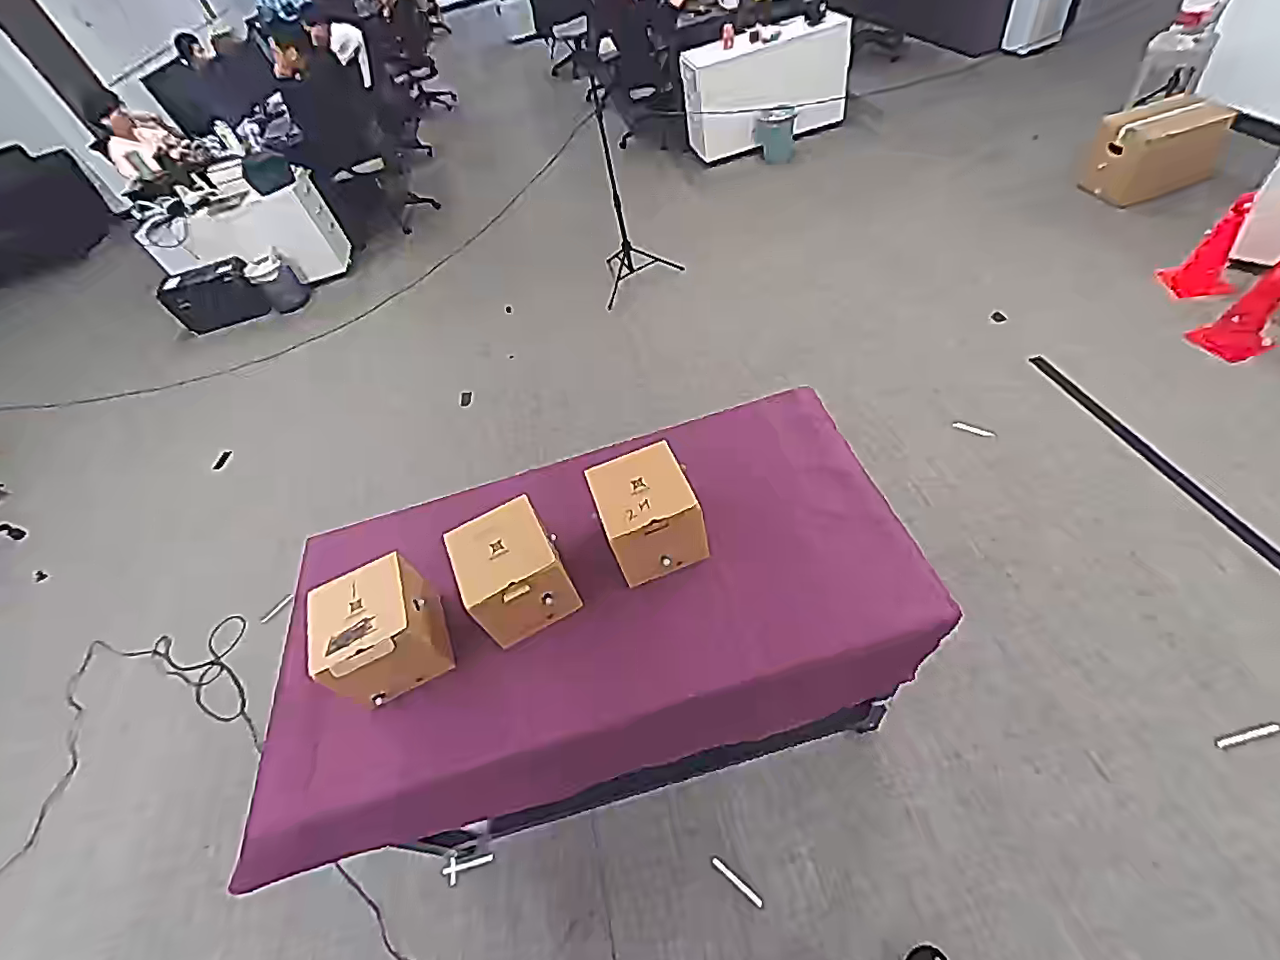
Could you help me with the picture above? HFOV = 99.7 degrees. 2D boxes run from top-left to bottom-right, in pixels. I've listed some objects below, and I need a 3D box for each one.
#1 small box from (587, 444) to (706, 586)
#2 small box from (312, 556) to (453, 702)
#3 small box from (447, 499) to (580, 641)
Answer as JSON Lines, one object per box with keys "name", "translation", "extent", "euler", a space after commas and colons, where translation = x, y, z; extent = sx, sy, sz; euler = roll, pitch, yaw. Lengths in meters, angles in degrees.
{"name": "small box", "translation": [0.014, 0.069, 1.024], "extent": [0.168, 0.176, 0.179], "euler": [-21, 50, -3]}
{"name": "small box", "translation": [-0.457, 0.275, 0.973], "extent": [0.168, 0.176, 0.179], "euler": [-26, 49, -8]}
{"name": "small box", "translation": [-0.229, 0.174, 1.001], "extent": [0.168, 0.176, 0.179], "euler": [-27, 50, -9]}
